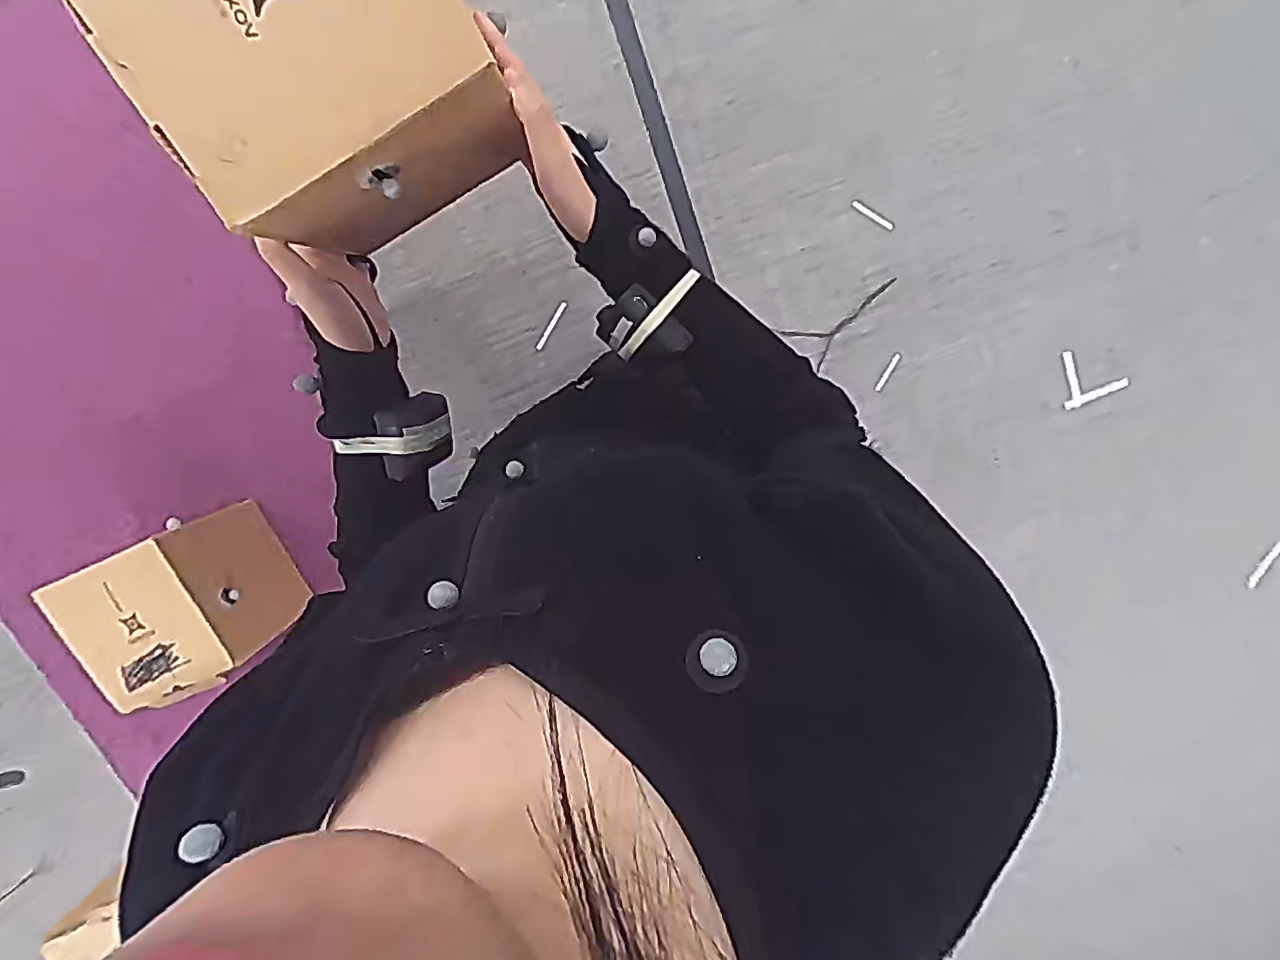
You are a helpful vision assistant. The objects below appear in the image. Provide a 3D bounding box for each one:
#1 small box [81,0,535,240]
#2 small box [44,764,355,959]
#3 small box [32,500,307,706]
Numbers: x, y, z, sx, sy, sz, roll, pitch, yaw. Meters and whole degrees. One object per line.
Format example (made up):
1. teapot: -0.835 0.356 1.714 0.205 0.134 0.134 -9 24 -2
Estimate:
1. small box: -0.188 -0.274 0.343 0.179 0.176 0.168 -27 108 6
2. small box: -0.474 0.460 0.615 0.168 0.176 0.179 -26 102 6
3. small box: -0.584 0.148 0.703 0.168 0.176 0.179 -23 102 4
